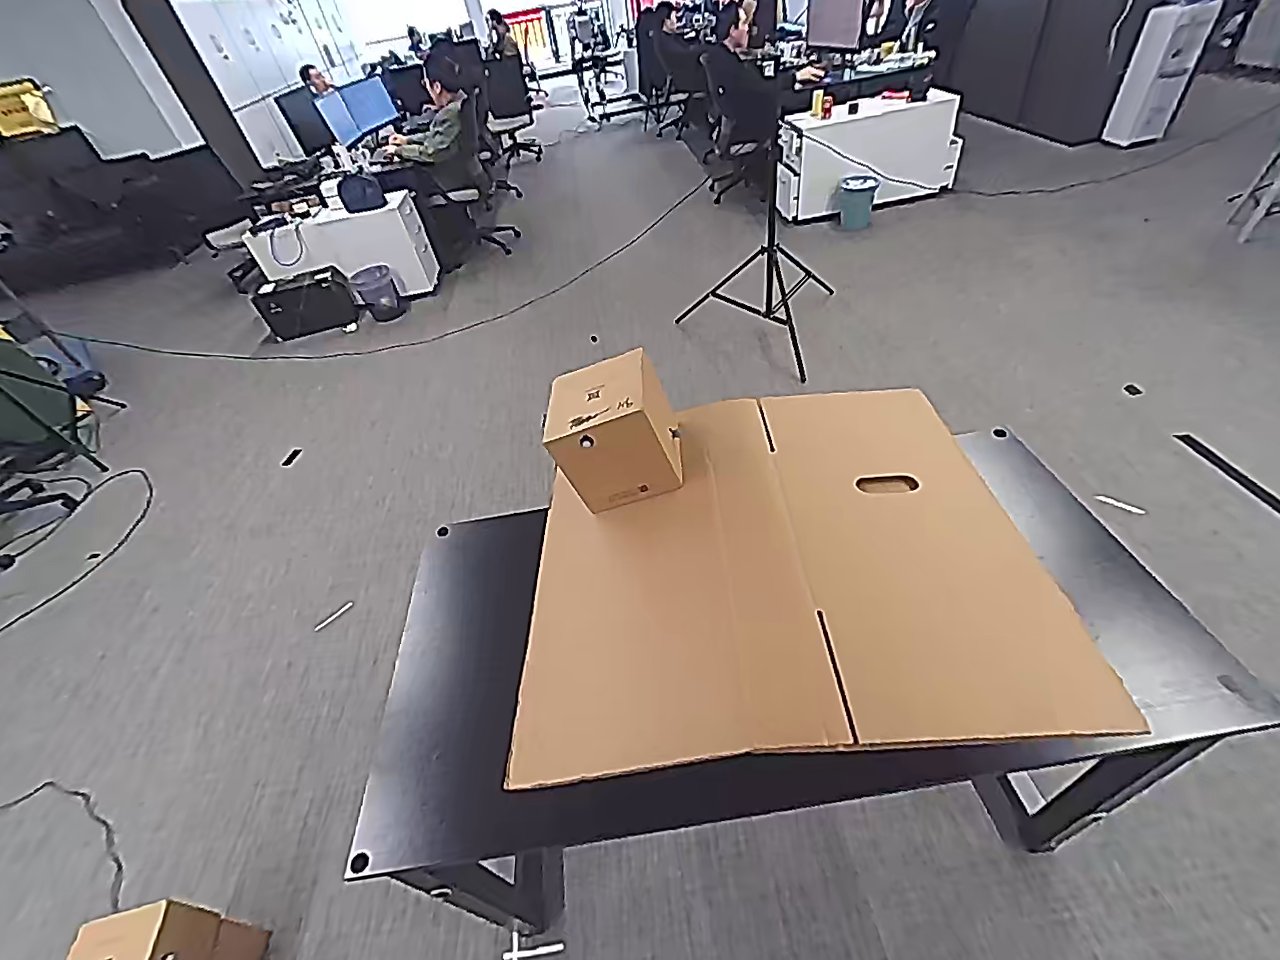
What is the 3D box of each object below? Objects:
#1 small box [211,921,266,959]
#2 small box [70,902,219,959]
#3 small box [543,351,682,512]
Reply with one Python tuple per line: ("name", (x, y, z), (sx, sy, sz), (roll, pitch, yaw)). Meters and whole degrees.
("small box", (-0.946, 1.082, 1.154), (0.168, 0.176, 0.179), (-13, 44, -2))
("small box", (-0.971, 0.962, 1.048), (0.168, 0.176, 0.179), (-14, 42, -5))
("small box", (-0.037, -0.077, 0.892), (0.168, 0.176, 0.179), (-18, 40, 15))
